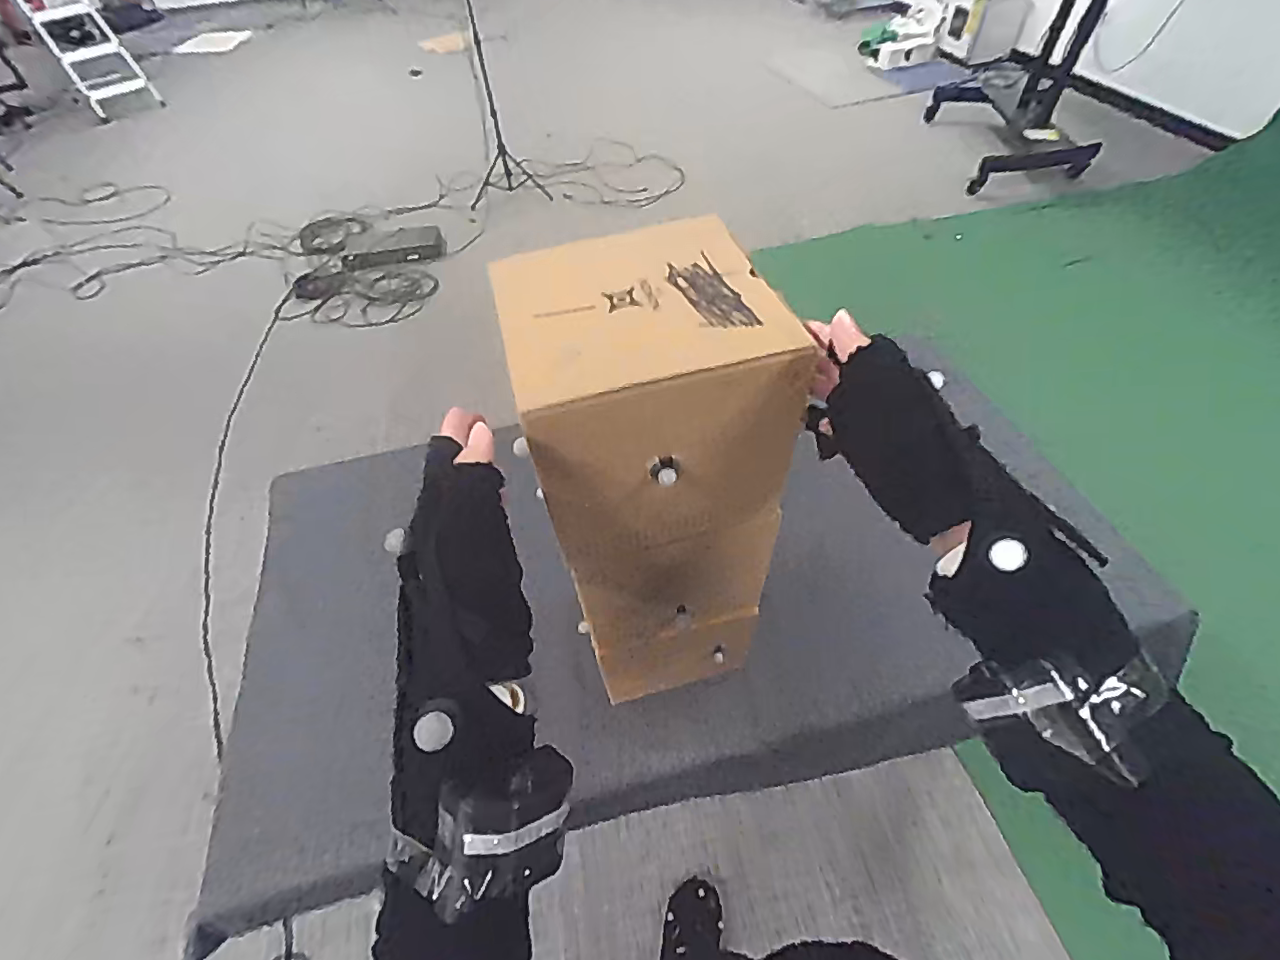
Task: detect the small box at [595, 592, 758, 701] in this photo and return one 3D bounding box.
[{"bbox_3d":[0.025,0.147,0.664,0.179,0.176,0.168,-14,51,-7],"label":"small box"}]

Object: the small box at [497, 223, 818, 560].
[{"bbox_3d":[0.004,-0.063,0.412,0.179,0.176,0.168,-14,52,-7],"label":"small box"}]

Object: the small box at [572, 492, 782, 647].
[{"bbox_3d":[0.015,0.041,0.539,0.179,0.176,0.168,-14,51,-8],"label":"small box"}]
